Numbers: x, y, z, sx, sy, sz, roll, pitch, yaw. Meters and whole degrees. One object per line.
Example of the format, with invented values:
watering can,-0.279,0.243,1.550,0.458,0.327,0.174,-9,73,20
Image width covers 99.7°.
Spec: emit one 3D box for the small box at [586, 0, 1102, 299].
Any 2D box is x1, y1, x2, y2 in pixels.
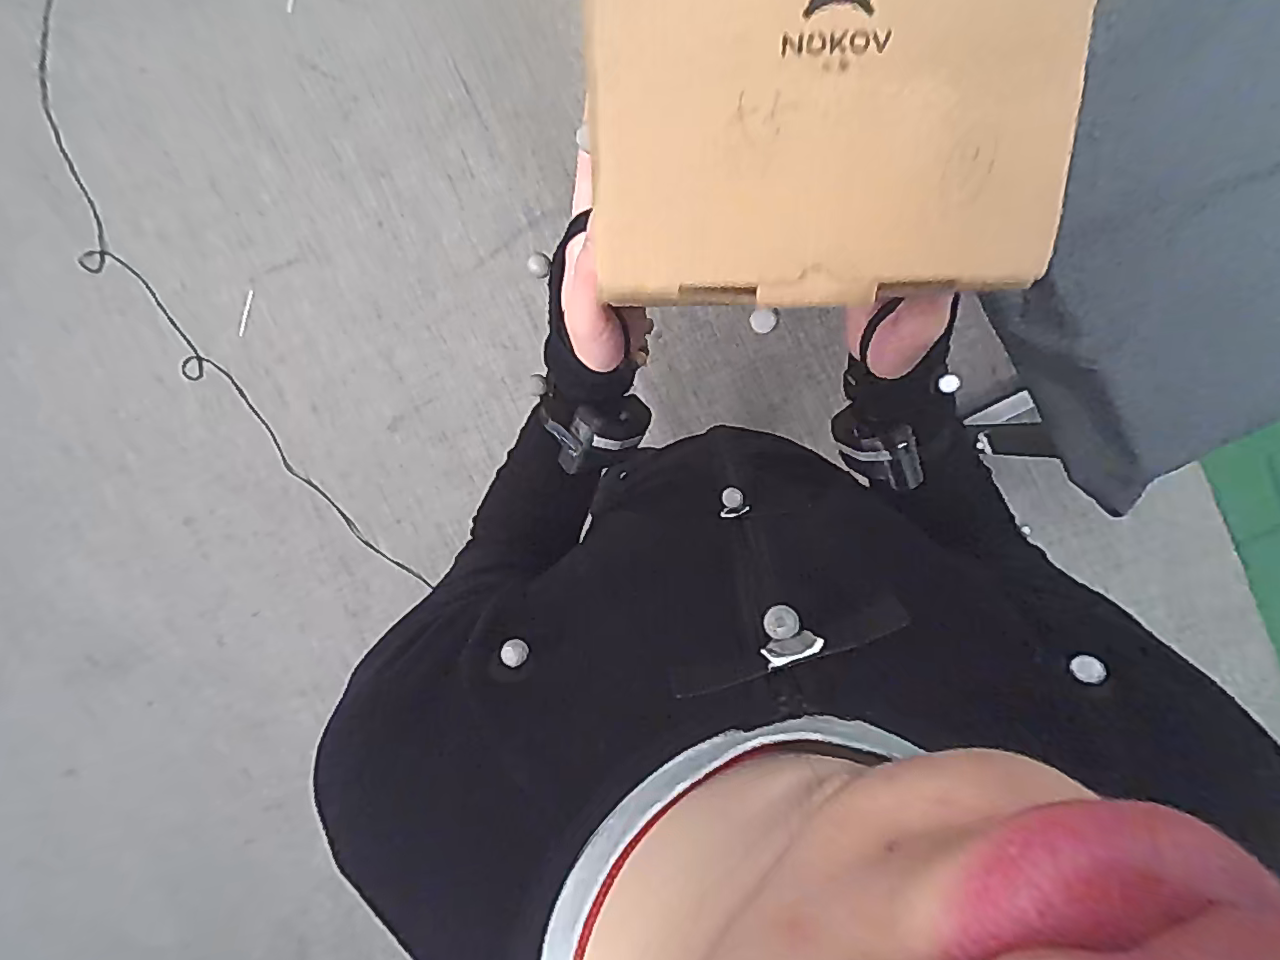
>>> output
small box,0.063,-0.176,0.247,0.168,0.176,0.179,-2,106,-2
